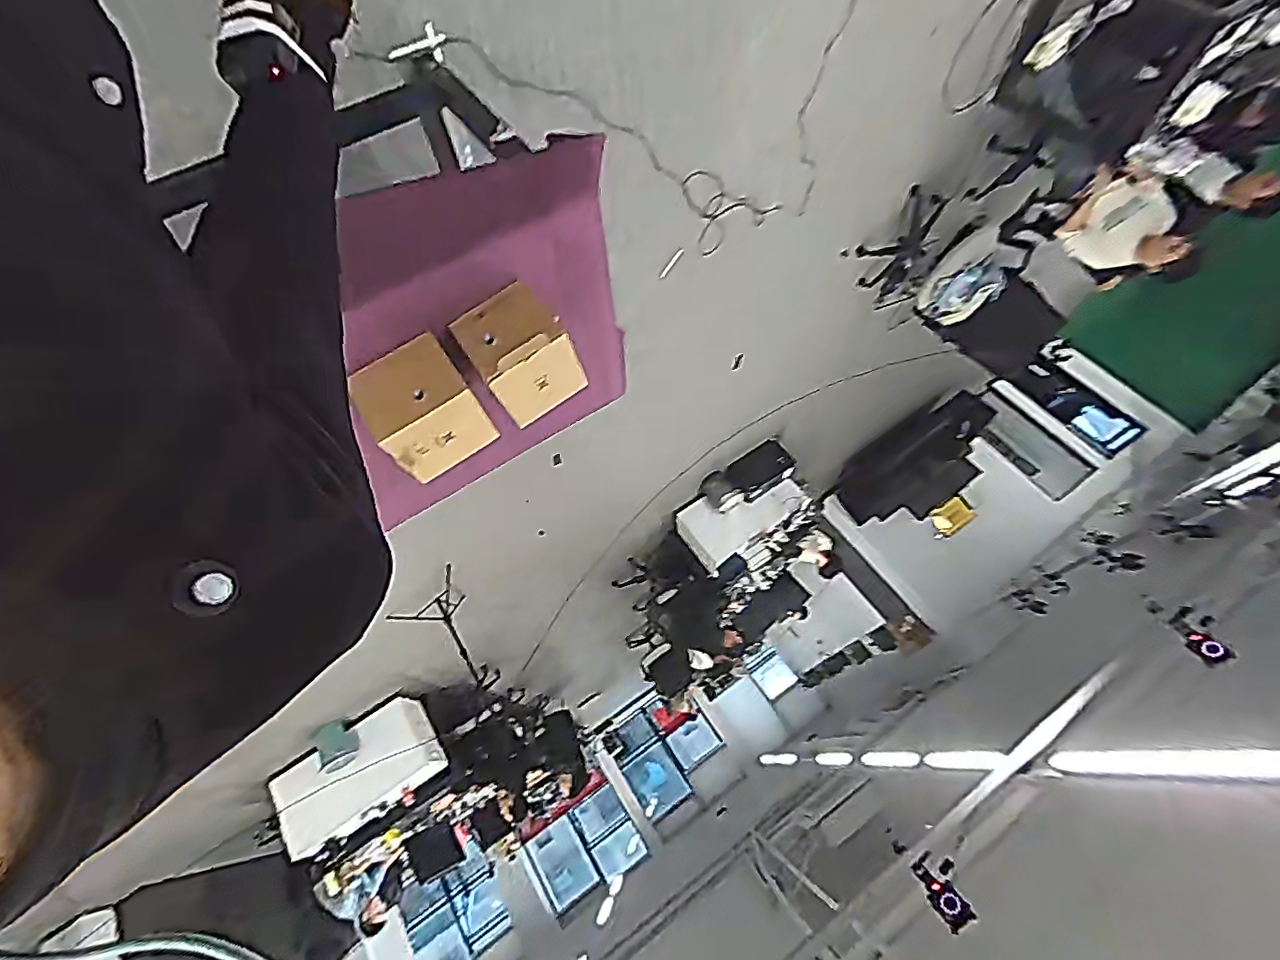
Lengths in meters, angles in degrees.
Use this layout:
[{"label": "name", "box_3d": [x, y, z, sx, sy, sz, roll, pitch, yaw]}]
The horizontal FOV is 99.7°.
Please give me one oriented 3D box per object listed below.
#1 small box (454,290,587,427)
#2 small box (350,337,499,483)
[{"label": "small box", "box_3d": [-0.233, -0.243, 1.057, 0.168, 0.176, 0.179, -35, 157, -6]}, {"label": "small box", "box_3d": [-0.400, -0.133, 1.013, 0.179, 0.176, 0.168, -33, 156, -9]}]
